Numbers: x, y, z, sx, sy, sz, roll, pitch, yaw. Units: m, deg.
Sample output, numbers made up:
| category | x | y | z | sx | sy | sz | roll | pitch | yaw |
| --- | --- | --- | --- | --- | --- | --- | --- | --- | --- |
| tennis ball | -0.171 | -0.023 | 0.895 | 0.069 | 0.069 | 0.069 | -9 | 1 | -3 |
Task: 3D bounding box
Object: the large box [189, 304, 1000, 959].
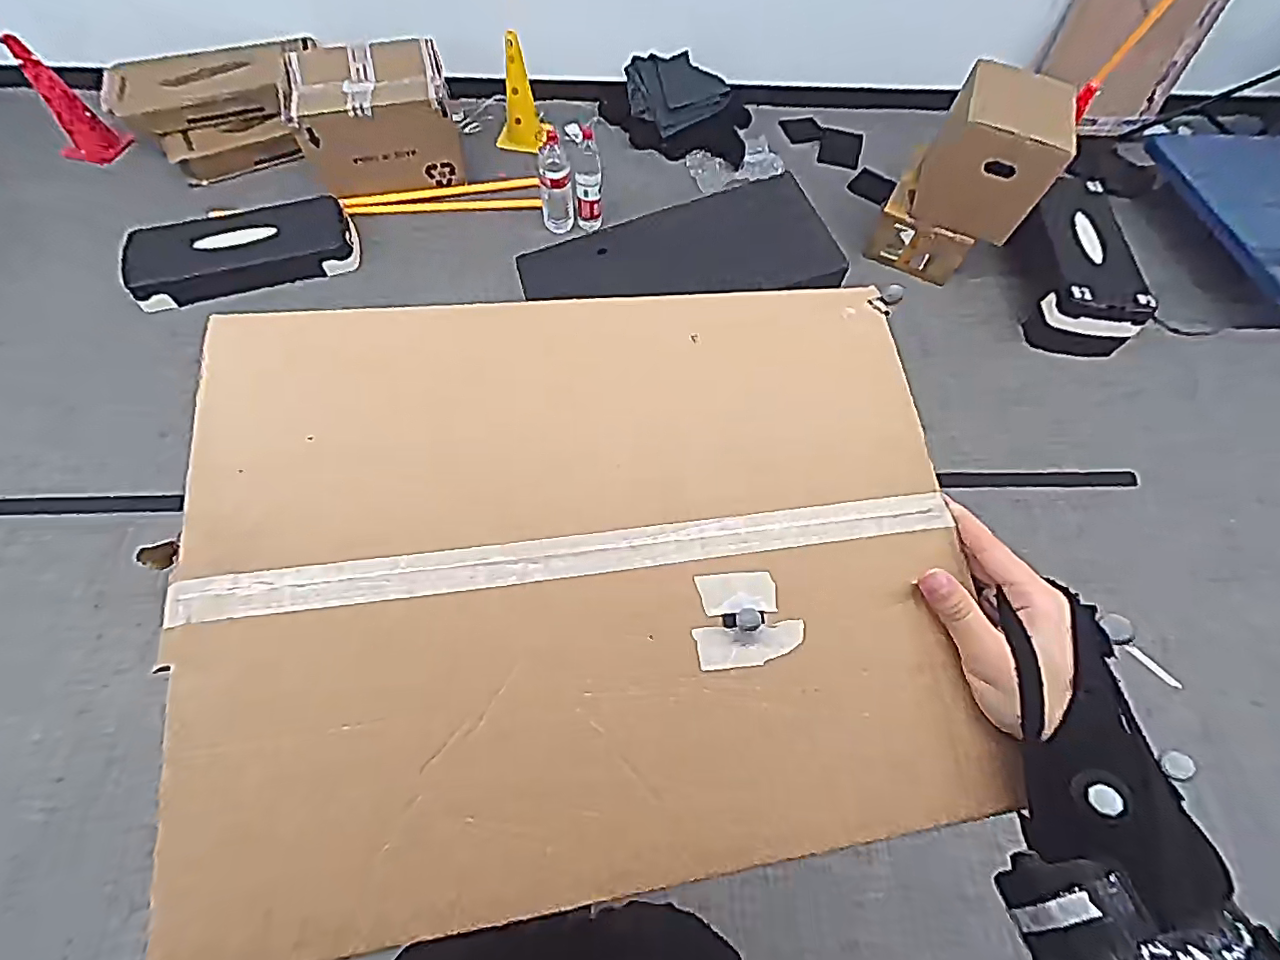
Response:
| category | x | y | z | sx | sy | sz | roll | pitch | yaw |
| --- | --- | --- | --- | --- | --- | --- | --- | --- | --- |
| large box | -0.039 | 0.087 | 0.441 | 0.408 | 0.320 | 0.320 | -5 | 74 | -10 |
